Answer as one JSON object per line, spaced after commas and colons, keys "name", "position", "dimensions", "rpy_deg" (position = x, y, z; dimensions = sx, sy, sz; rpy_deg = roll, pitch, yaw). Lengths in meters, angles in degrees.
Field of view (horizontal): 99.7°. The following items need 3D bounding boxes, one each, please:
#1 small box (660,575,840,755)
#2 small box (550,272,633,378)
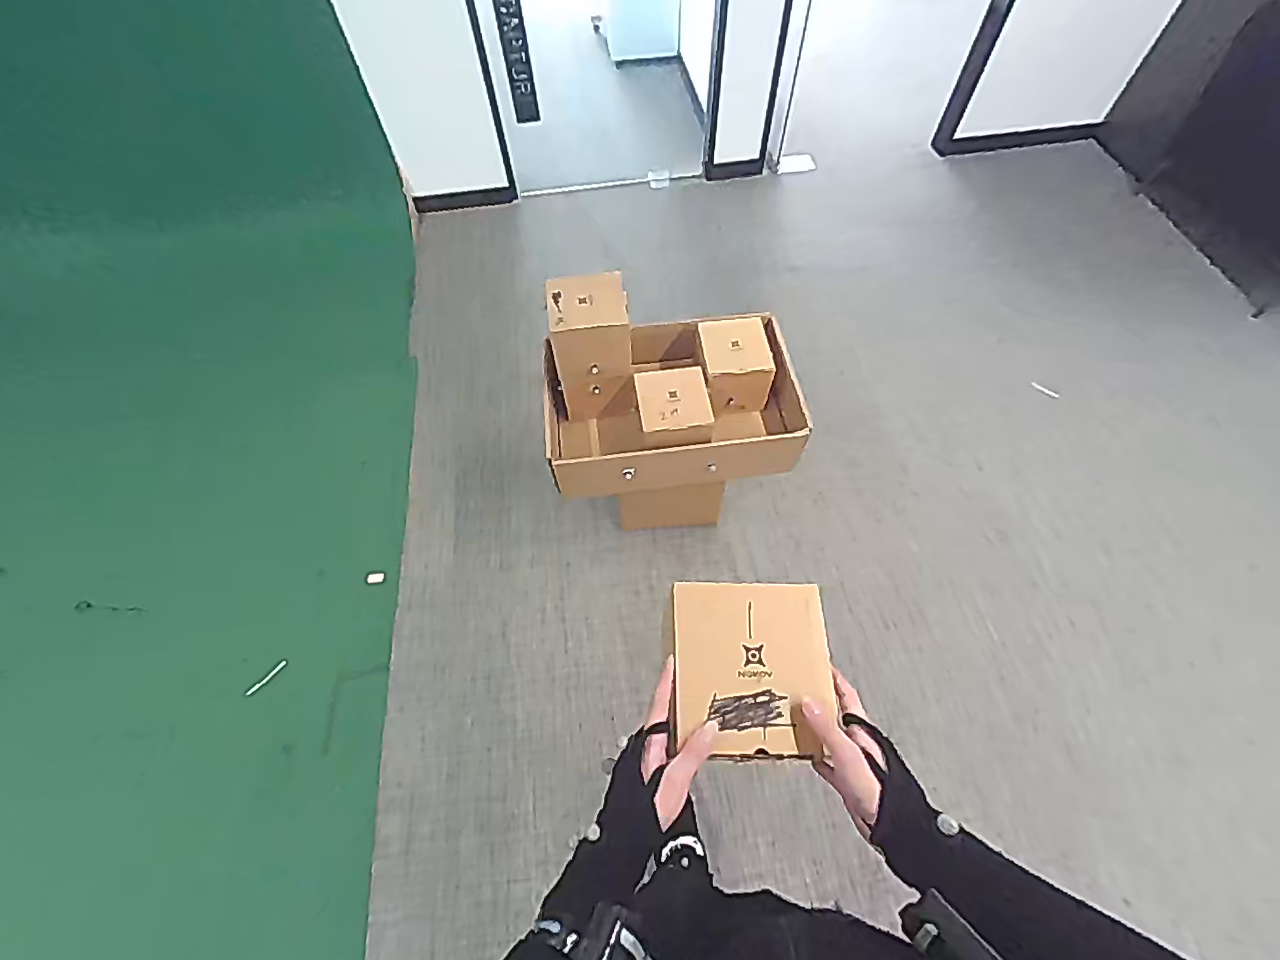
{"name": "small box", "position": [0.113, 0.222, 0.632], "dimensions": [0.168, 0.176, 0.179], "rpy_deg": [2, 61, -2]}
{"name": "small box", "position": [-0.110, -0.355, 1.253], "dimensions": [0.179, 0.176, 0.168], "rpy_deg": [-6, 61, -3]}
